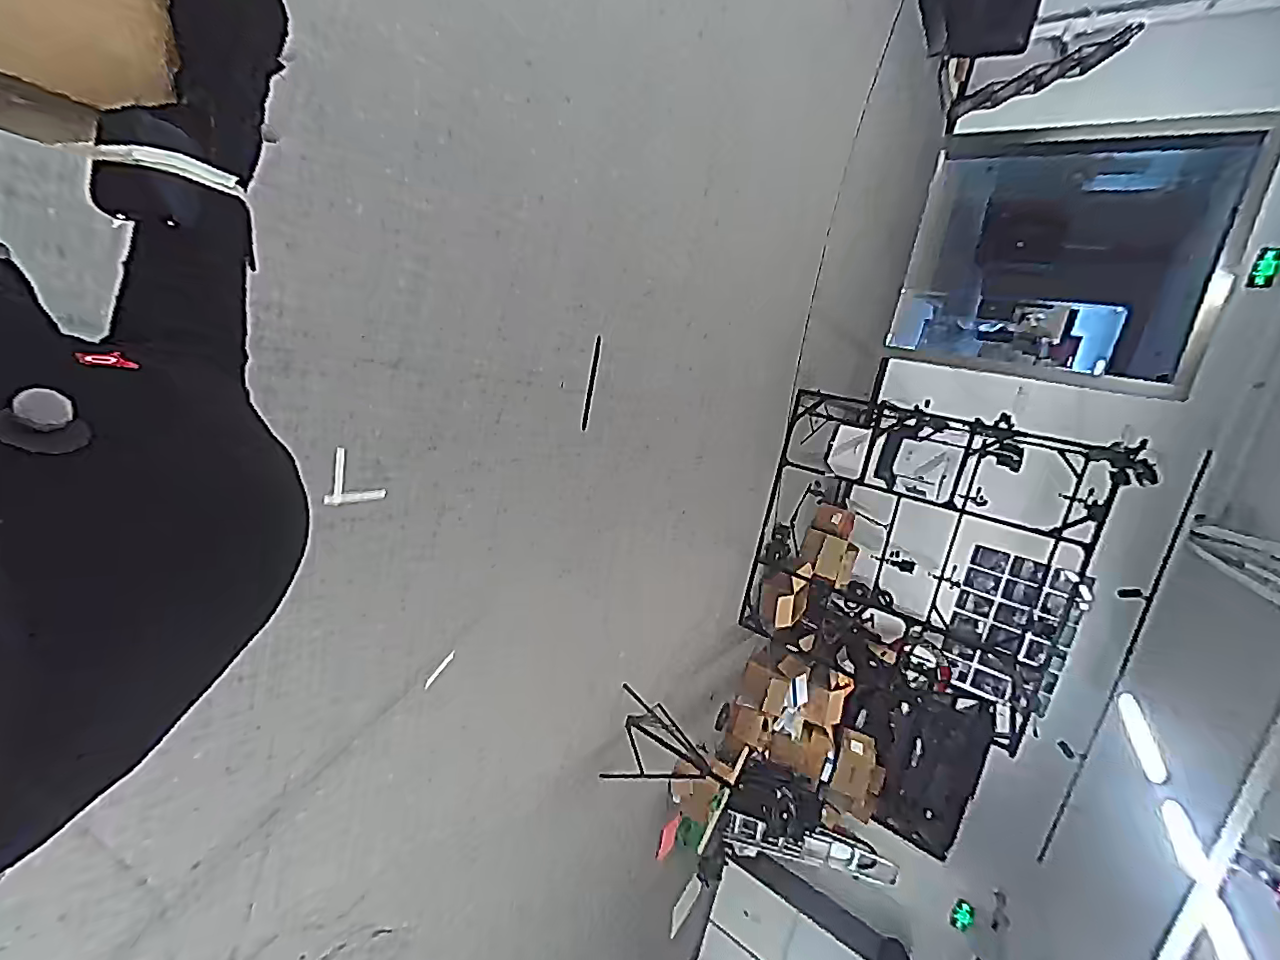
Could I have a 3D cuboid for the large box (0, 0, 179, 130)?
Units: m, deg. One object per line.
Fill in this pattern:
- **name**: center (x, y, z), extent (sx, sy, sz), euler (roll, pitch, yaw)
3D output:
- **large box**: center (-0.530, -0.432, 0.263), extent (0.408, 0.320, 0.320), euler (-5, 113, -59)
